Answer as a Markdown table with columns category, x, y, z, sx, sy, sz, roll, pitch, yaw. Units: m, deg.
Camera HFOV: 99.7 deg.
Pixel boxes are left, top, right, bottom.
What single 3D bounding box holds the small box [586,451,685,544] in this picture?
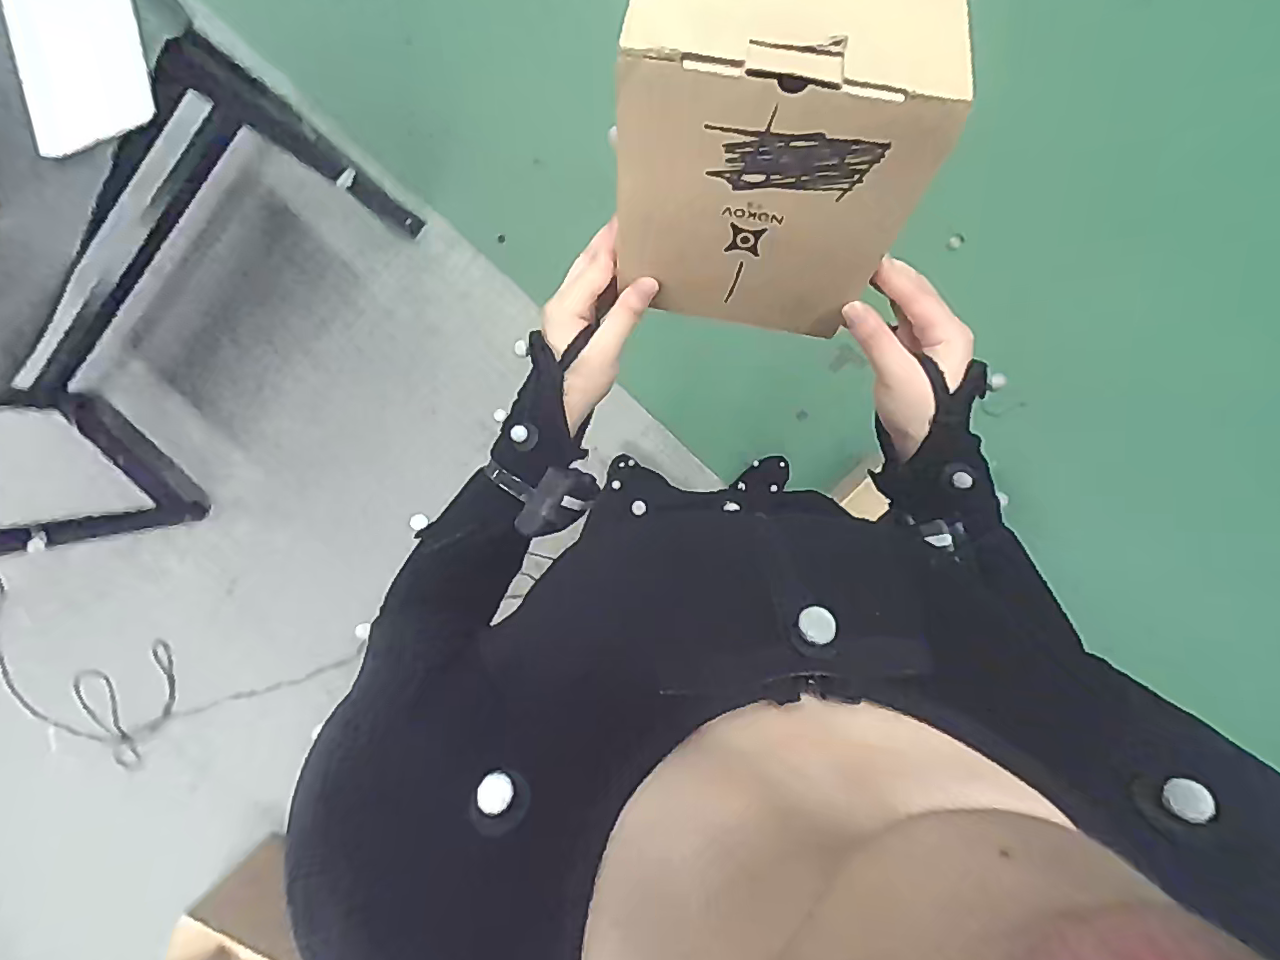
| category | x | y | z | sx | sy | sz | roll | pitch | yaw |
| --- | --- | --- | --- | --- | --- | --- | --- | --- | --- |
| small box | -0.007 | 0.051 | 1.389 | 0.176 | 0.168 | 0.179 | 29 | 67 | -26 |

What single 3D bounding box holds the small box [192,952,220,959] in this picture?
| category | x | y | z | sx | sy | sz | roll | pitch | yaw |
| --- | --- | --- | --- | --- | --- | --- | --- | --- | --- |
| small box | -1.183 | 1.365 | 1.376 | 0.179 | 0.176 | 0.168 | -26 | 91 | 6 |
